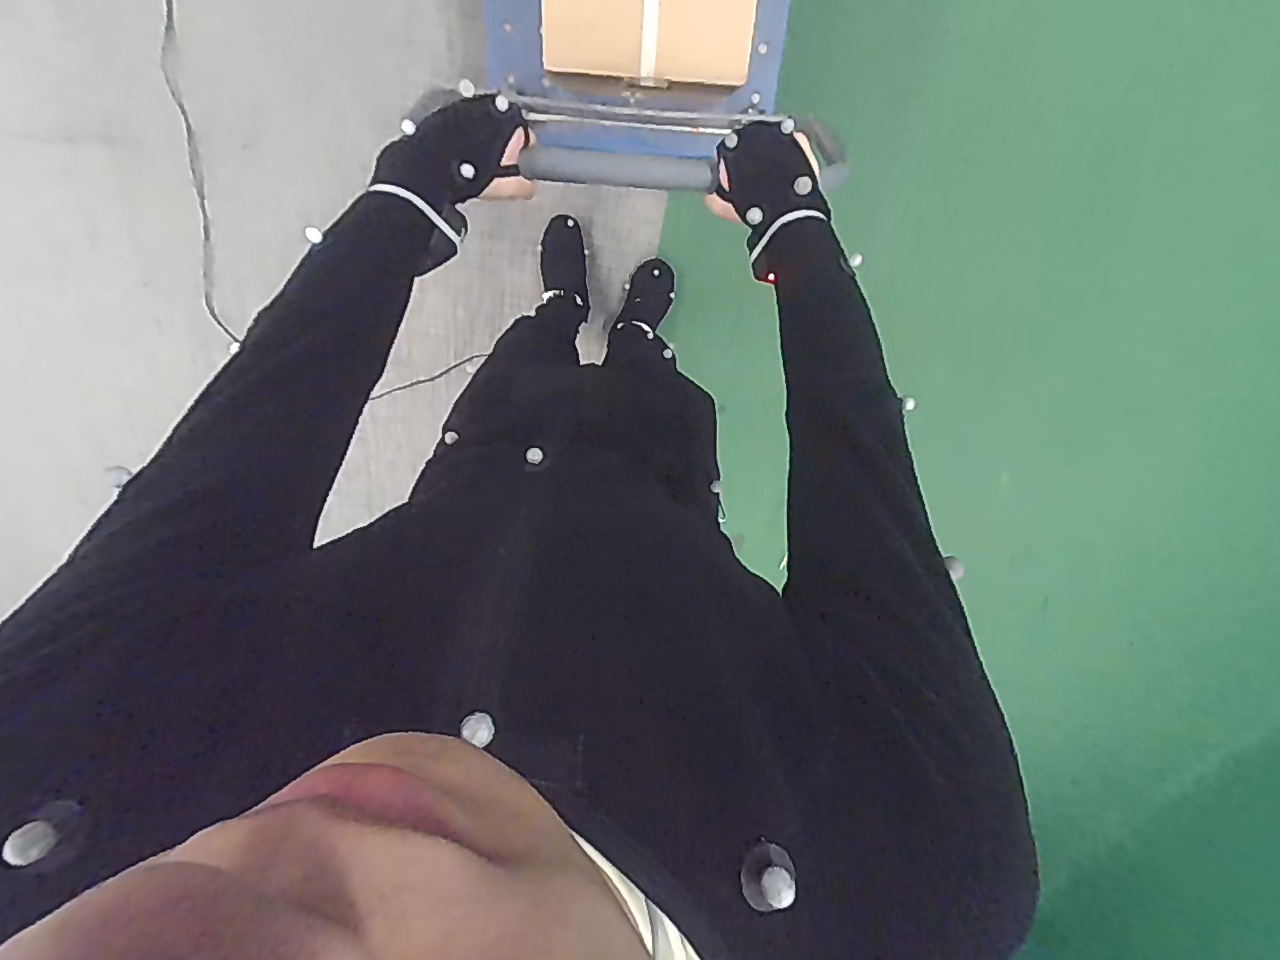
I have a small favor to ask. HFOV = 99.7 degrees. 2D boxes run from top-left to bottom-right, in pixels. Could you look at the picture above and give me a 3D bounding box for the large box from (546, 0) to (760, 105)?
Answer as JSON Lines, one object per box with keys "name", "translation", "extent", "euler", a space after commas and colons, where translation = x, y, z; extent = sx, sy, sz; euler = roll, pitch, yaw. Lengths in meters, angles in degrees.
{"name": "large box", "translation": [0.024, -0.858, 0.860], "extent": [0.320, 0.320, 0.408], "euler": [3, 120, -3]}
